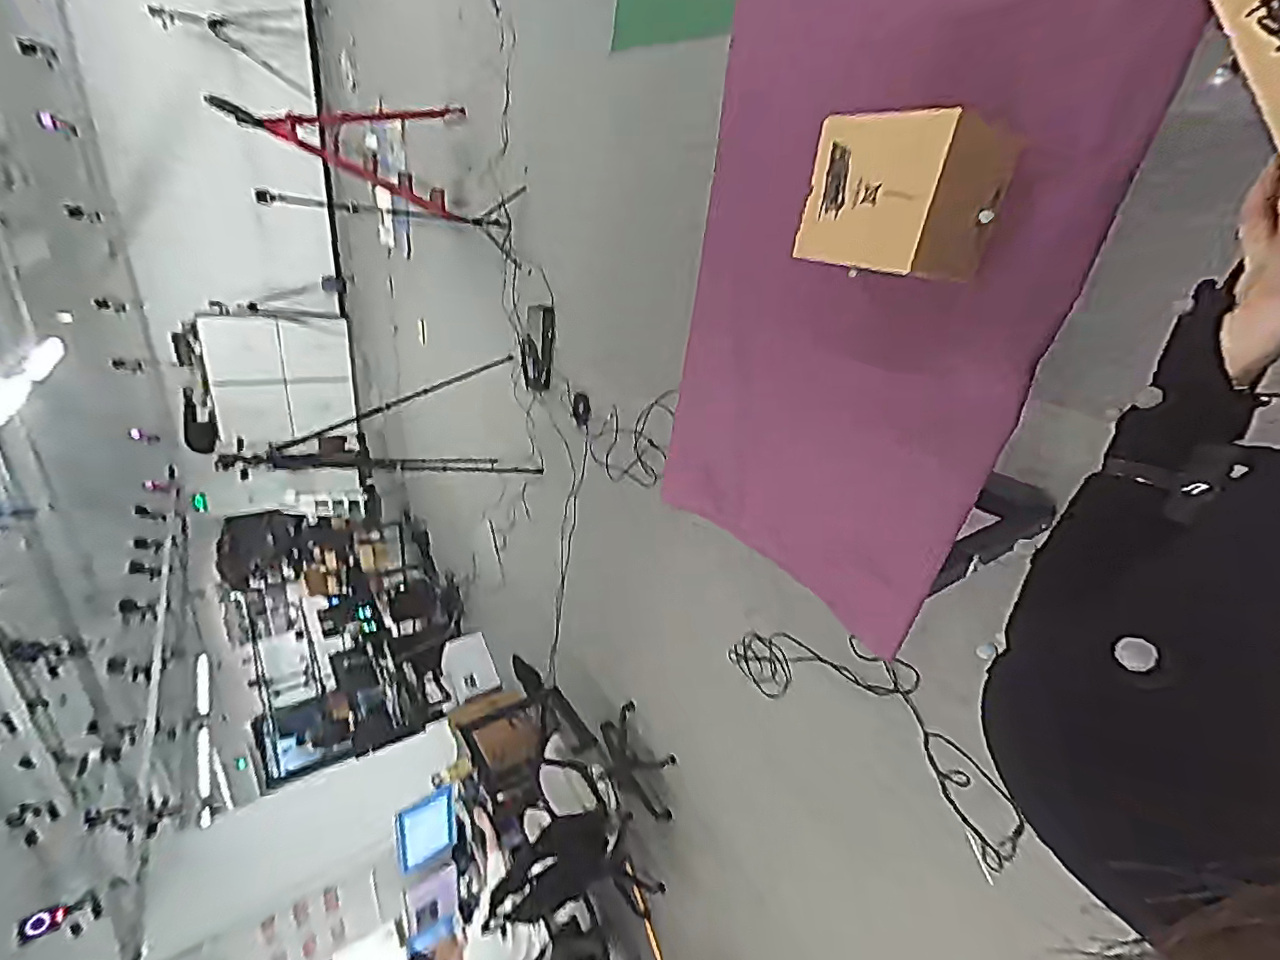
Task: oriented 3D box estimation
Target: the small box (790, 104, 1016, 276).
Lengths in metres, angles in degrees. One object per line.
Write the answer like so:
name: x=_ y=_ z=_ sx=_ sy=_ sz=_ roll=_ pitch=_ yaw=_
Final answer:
small box: x=0.331 y=-0.363 z=0.696 sx=0.179 sy=0.176 sz=0.168 roll=35 pitch=127 yaw=44
